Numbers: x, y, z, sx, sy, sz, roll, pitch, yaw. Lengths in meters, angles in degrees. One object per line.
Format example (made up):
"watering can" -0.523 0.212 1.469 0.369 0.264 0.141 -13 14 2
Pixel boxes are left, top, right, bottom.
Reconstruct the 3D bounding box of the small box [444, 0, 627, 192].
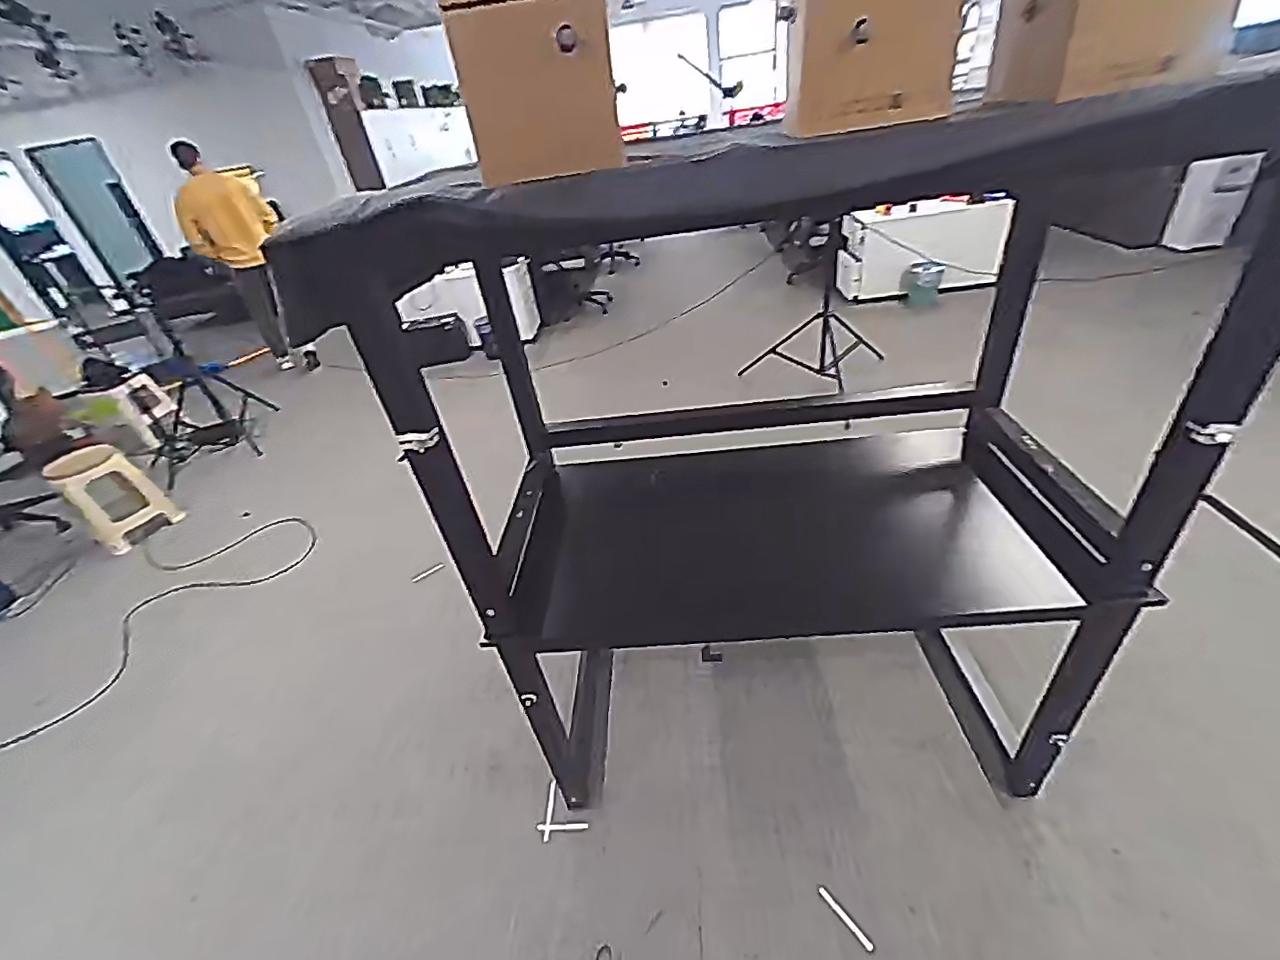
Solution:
"small box" -0.111 -0.468 0.666 0.179 0.176 0.168 -8 33 3

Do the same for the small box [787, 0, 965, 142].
"small box" 0.270 -0.514 0.645 0.168 0.176 0.179 -3 33 9

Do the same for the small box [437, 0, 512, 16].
"small box" -0.131 -0.600 0.571 0.179 0.176 0.168 -6 33 3
